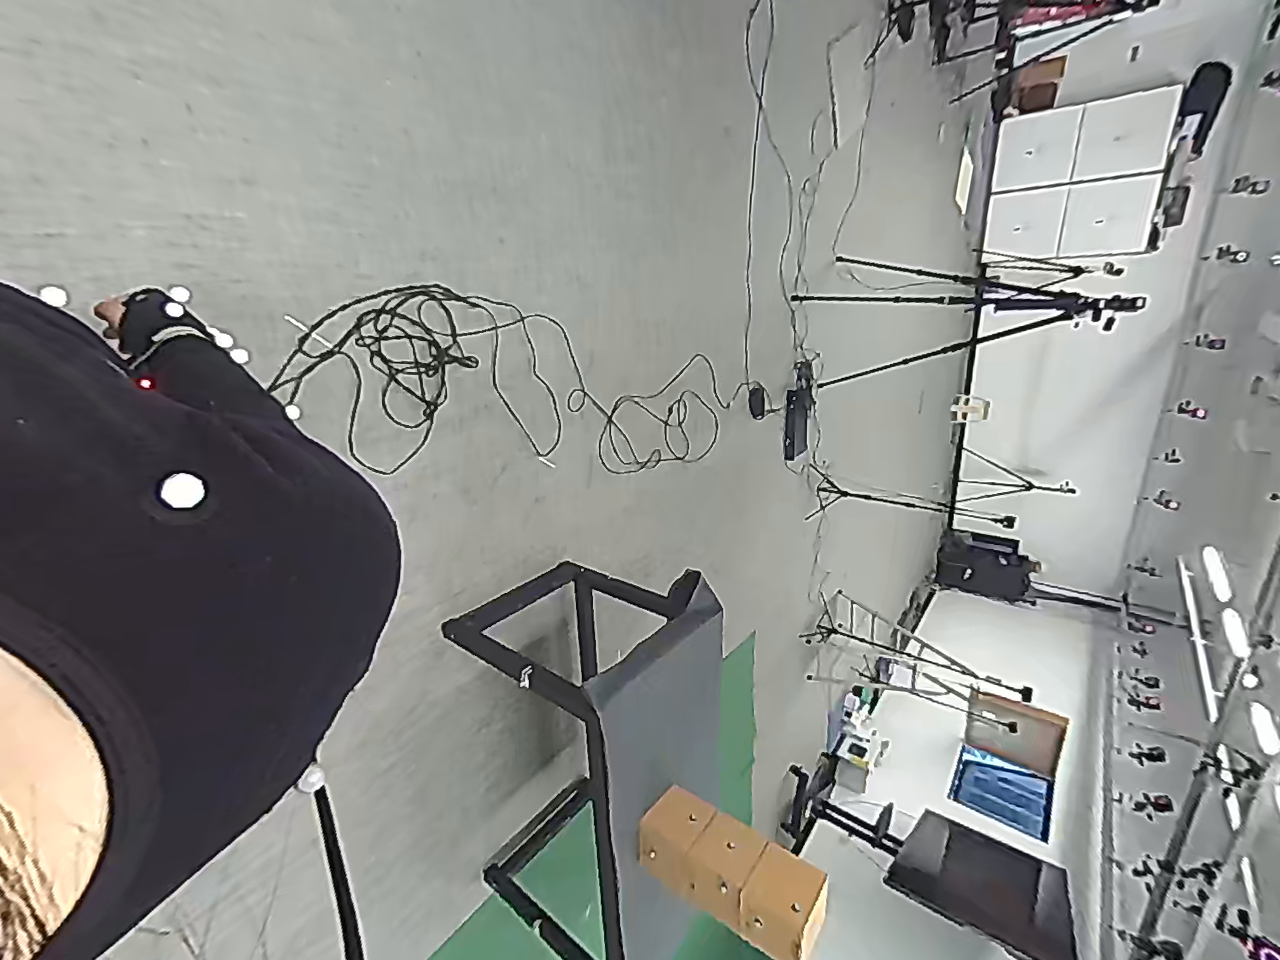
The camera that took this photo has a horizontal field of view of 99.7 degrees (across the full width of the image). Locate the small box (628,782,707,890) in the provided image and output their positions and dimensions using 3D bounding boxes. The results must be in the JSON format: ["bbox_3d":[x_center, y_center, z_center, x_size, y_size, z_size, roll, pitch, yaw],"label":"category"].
[{"bbox_3d":[0.083,1.050,1.617,0.179,0.176,0.168,-17,112,-50],"label":"small box"}]

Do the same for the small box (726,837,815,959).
[{"bbox_3d":[0.343,1.101,1.426,0.179,0.176,0.168,-23,118,-49],"label":"small box"}]
